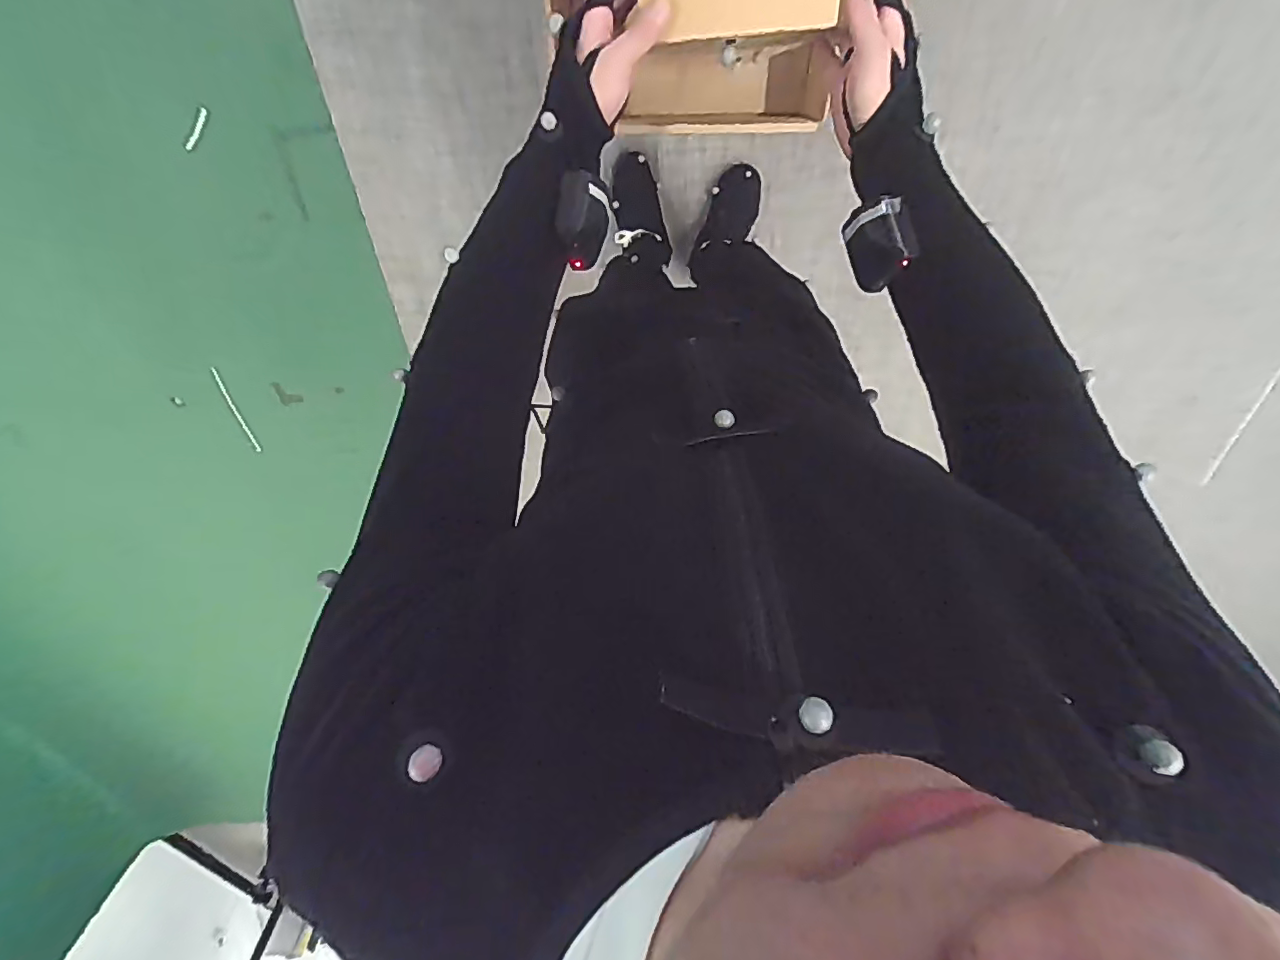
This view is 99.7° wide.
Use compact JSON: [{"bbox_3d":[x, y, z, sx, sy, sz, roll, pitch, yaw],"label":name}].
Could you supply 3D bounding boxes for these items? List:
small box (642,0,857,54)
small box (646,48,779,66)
[{"bbox_3d":[0.088,-0.482,0.470,0.179,0.176,0.168,-2,126,2],"label":"small box"},{"bbox_3d":[0.096,-0.671,0.734,0.179,0.176,0.168,0,125,2],"label":"small box"}]
